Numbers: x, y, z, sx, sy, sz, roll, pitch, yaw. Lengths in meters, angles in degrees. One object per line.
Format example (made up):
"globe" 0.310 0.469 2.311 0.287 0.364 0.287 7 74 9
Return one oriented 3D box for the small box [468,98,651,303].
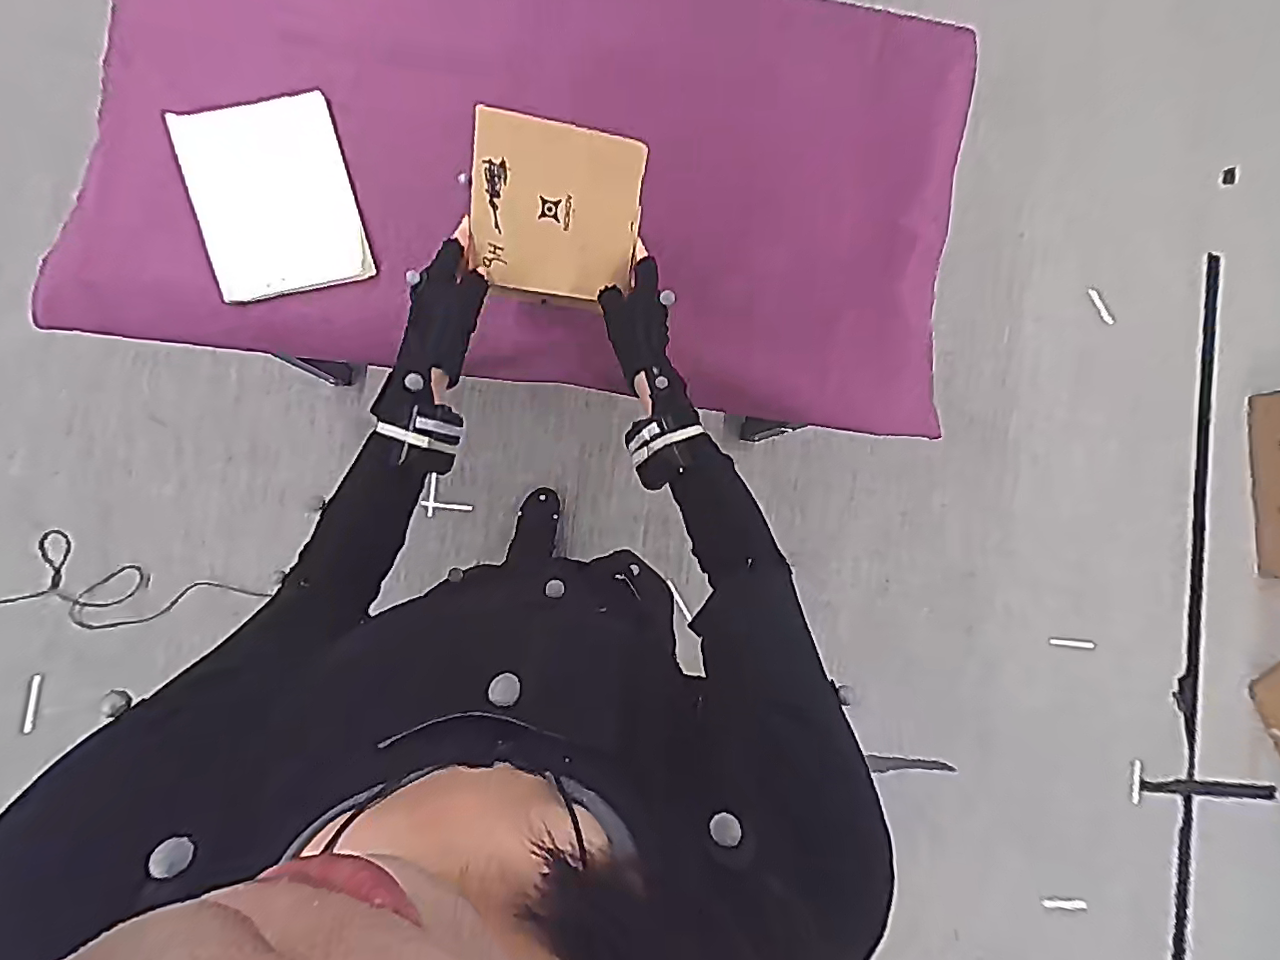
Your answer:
"small box" -0.101 -0.305 0.633 0.179 0.176 0.168 4 104 -15
